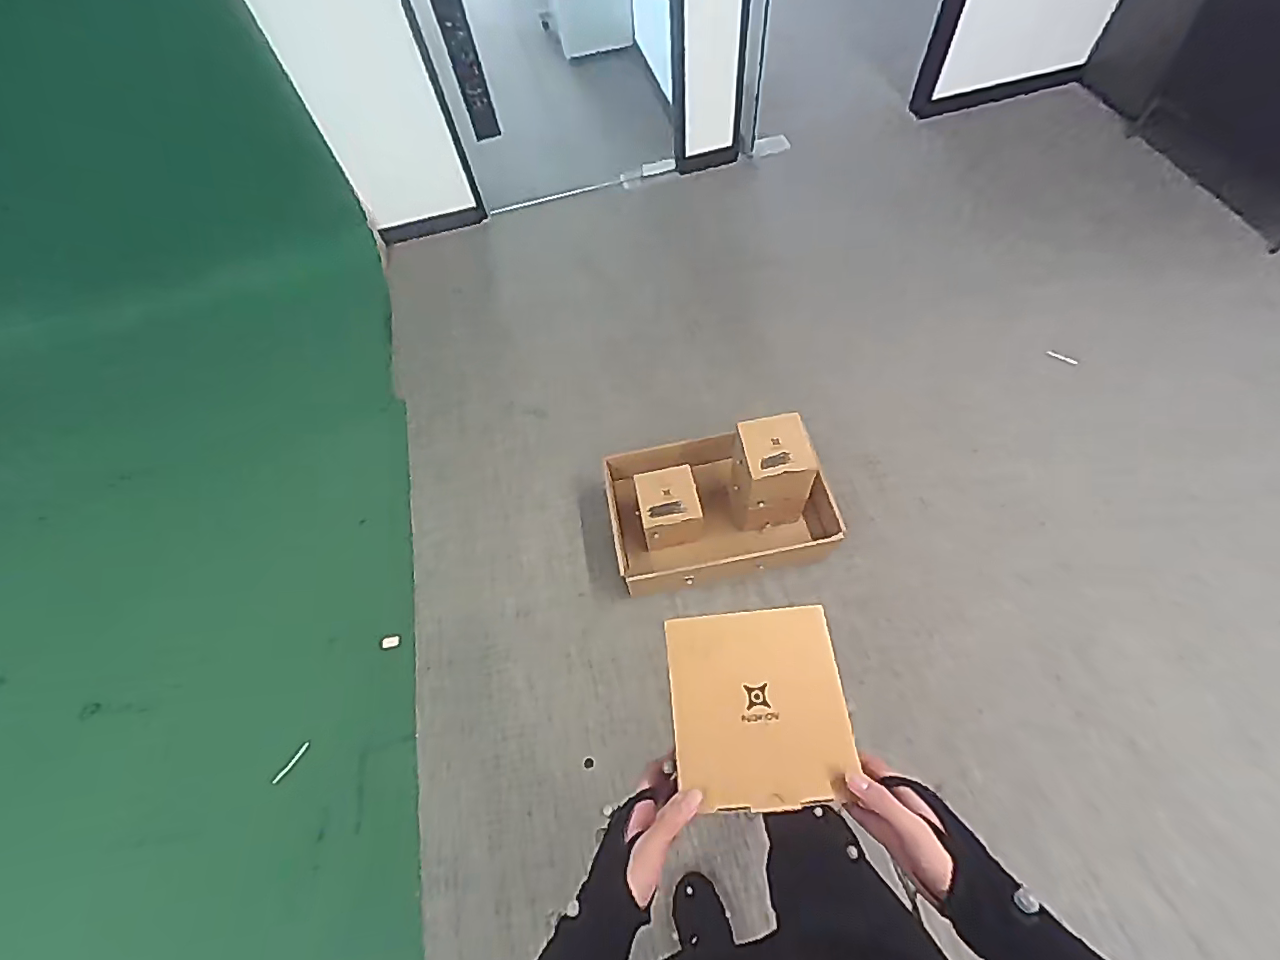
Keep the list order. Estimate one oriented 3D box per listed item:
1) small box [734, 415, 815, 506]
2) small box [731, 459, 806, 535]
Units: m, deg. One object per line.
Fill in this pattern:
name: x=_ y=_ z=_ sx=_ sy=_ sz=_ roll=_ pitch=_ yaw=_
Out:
small box: x=0.350 y=-0.042 z=1.432 sx=0.168 sy=0.176 sz=0.179 roll=-9 pitch=59 yaw=1
small box: x=0.365 y=0.037 z=1.574 sx=0.168 sy=0.176 sz=0.179 roll=-11 pitch=60 yaw=0
